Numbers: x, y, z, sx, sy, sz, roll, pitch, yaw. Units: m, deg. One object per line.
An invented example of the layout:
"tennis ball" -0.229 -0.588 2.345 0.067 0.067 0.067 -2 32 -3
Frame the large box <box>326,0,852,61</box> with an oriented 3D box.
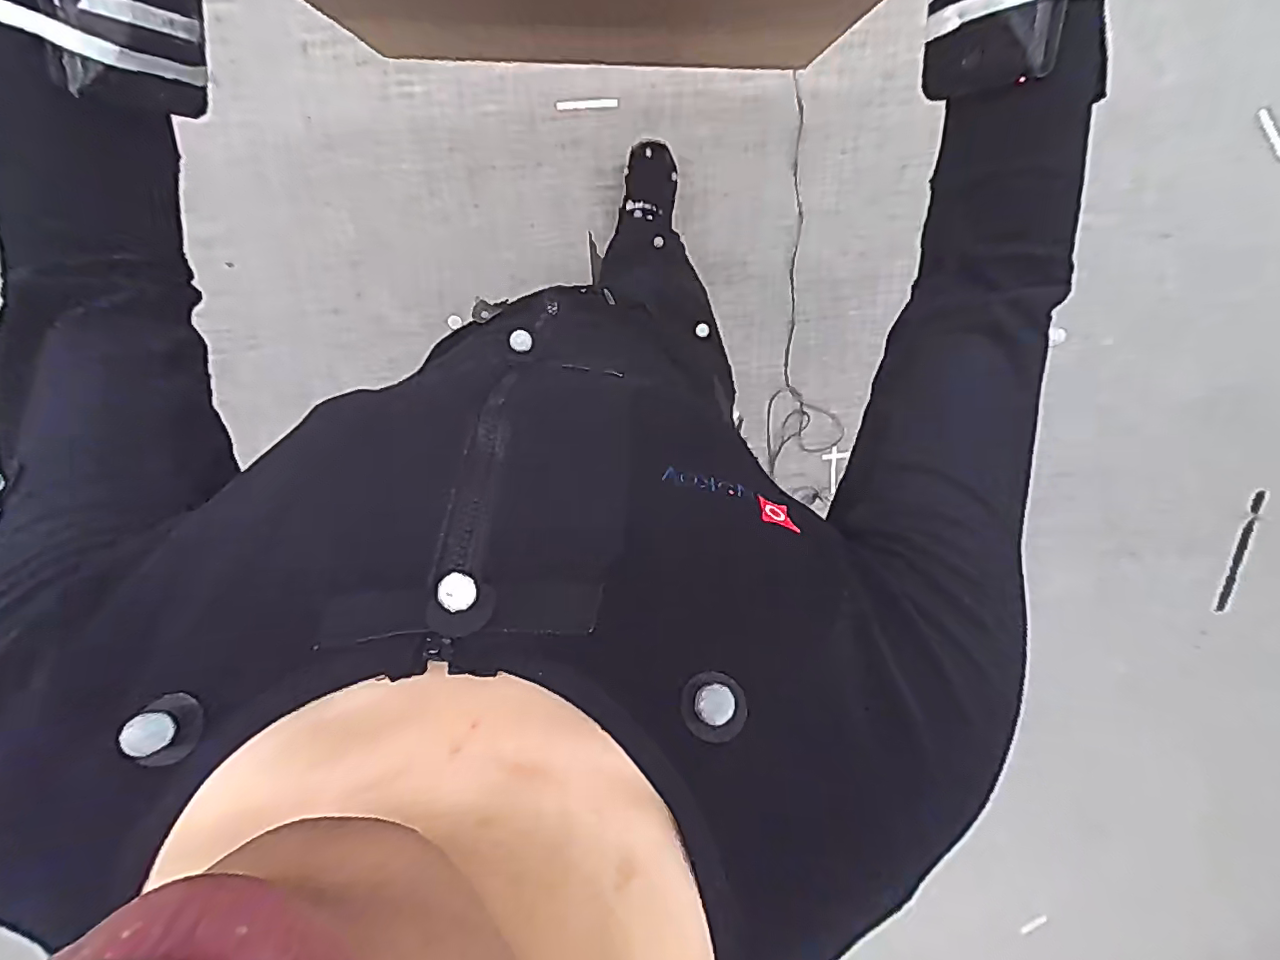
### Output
"large box" -0.036 -0.483 0.320 0.408 0.320 0.320 -1 115 -2
